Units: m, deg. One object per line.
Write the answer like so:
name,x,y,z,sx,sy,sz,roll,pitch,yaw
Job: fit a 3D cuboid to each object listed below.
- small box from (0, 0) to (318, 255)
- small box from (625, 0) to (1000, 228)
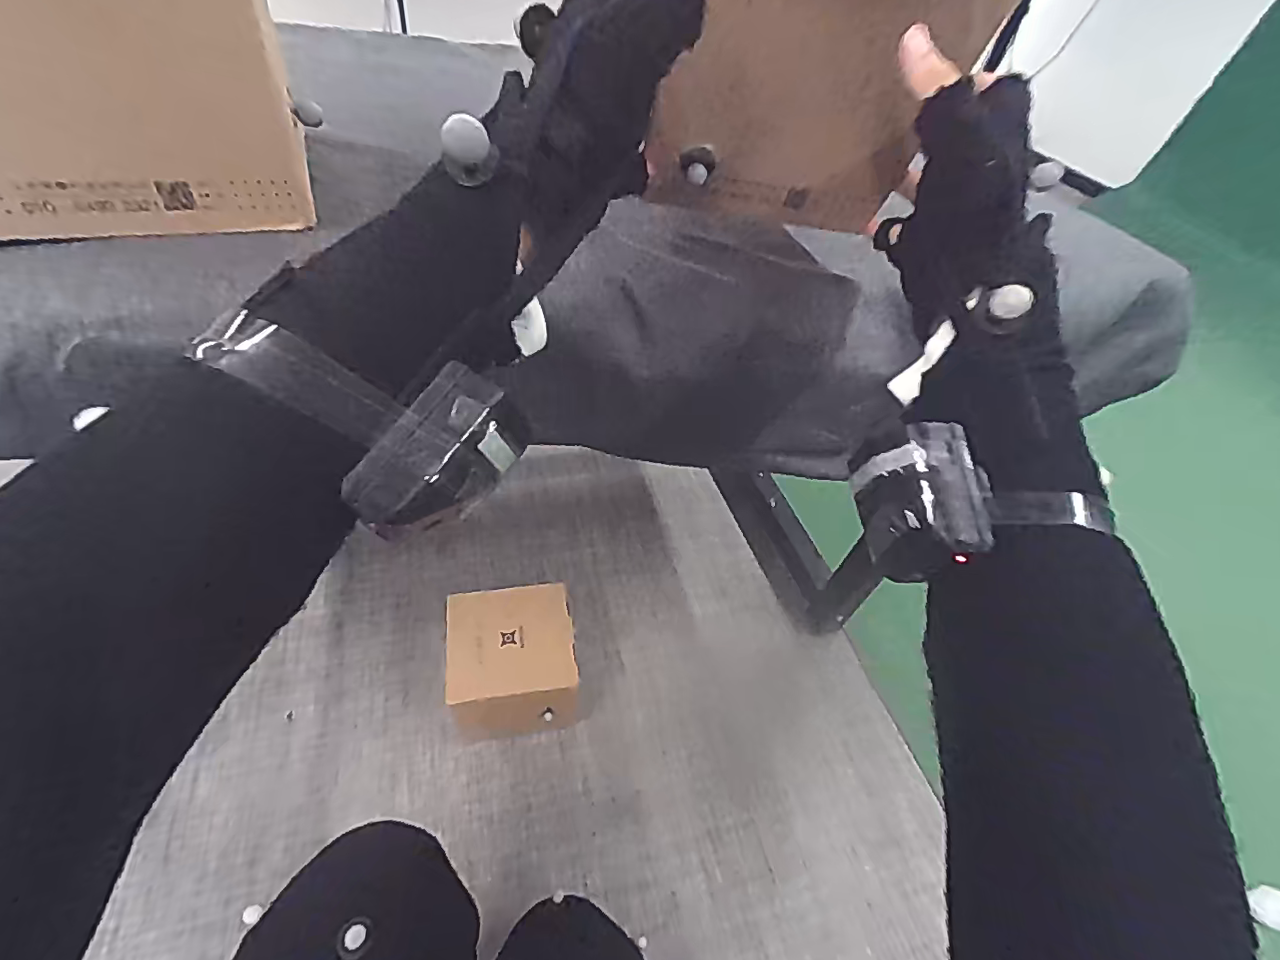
small box,-0.291,-0.240,0.290,0.168,0.176,0.179,-14,50,-21
small box,0.086,-0.282,0.322,0.168,0.176,0.179,2,64,-11
